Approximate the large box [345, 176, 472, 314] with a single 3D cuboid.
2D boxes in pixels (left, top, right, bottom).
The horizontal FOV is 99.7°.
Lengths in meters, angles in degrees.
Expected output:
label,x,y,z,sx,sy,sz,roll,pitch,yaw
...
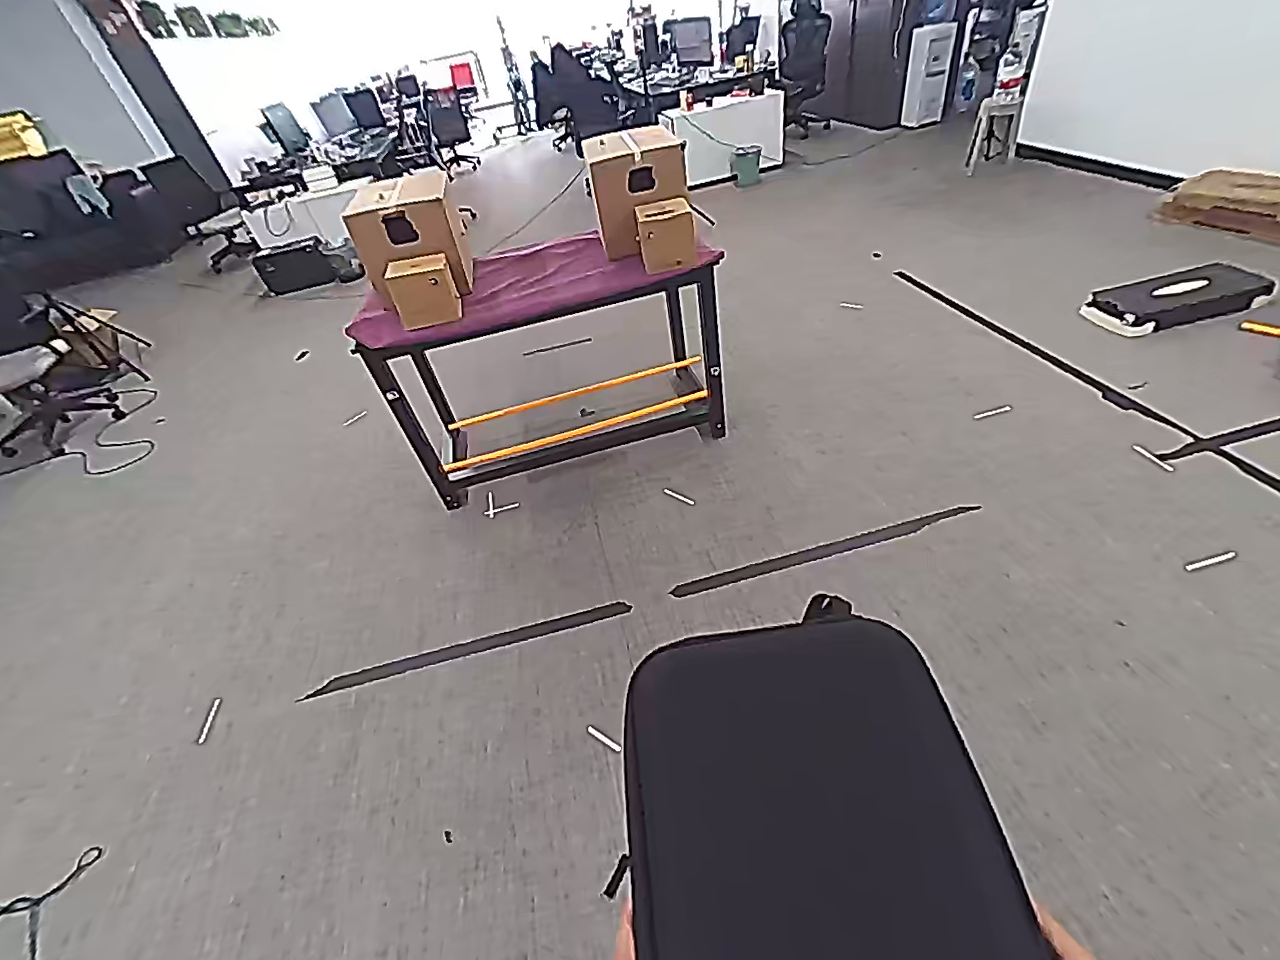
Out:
label,x,y,z,sx,sy,sz,roll,pitch,yaw
large box,-0.799,-0.842,1.922,0.320,0.320,0.408,-15,44,-5
